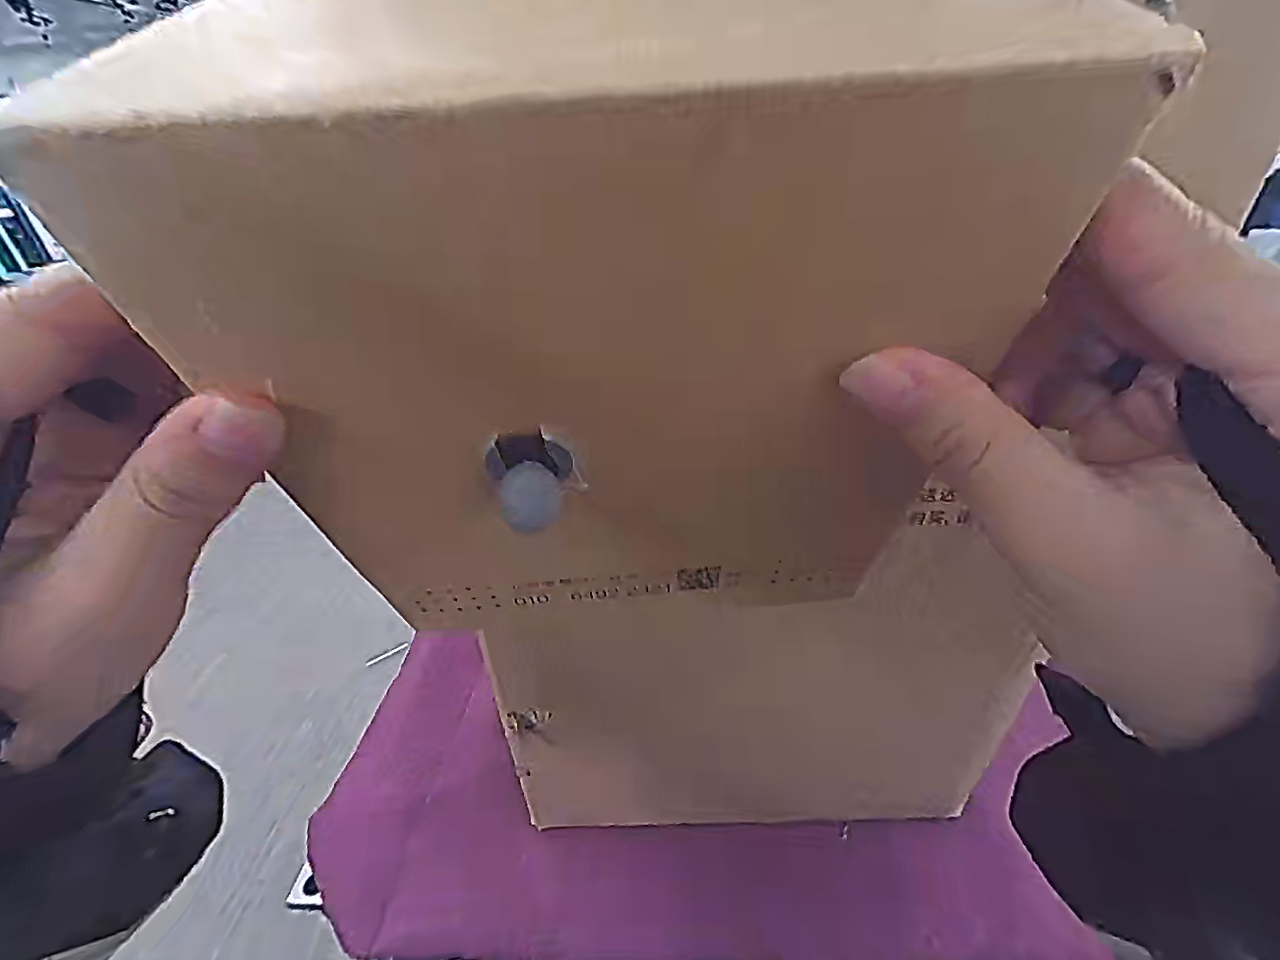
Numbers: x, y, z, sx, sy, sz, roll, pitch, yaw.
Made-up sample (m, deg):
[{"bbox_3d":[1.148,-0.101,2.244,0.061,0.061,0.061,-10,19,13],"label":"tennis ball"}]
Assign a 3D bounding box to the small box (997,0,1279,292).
[{"bbox_3d":[0.254,-0.225,0.353,0.179,0.176,0.168,-4,33,0],"label":"small box"}]
